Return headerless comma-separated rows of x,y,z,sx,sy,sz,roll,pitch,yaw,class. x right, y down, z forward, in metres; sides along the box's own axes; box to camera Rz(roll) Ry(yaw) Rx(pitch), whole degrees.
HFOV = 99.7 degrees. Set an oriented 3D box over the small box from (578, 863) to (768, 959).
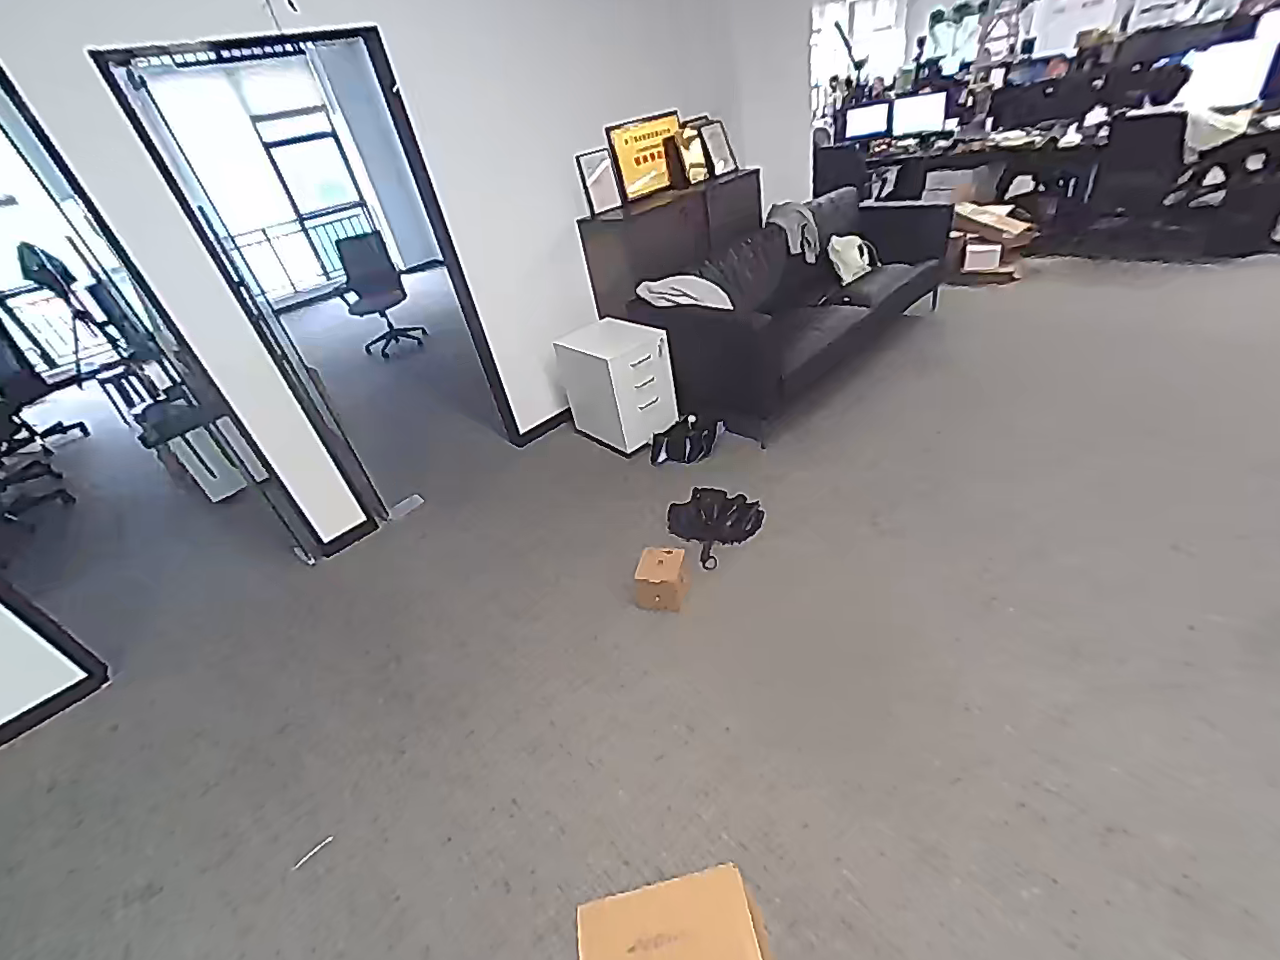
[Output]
0.048,0.511,0.519,0.168,0.176,0.179,-16,37,2,small box
